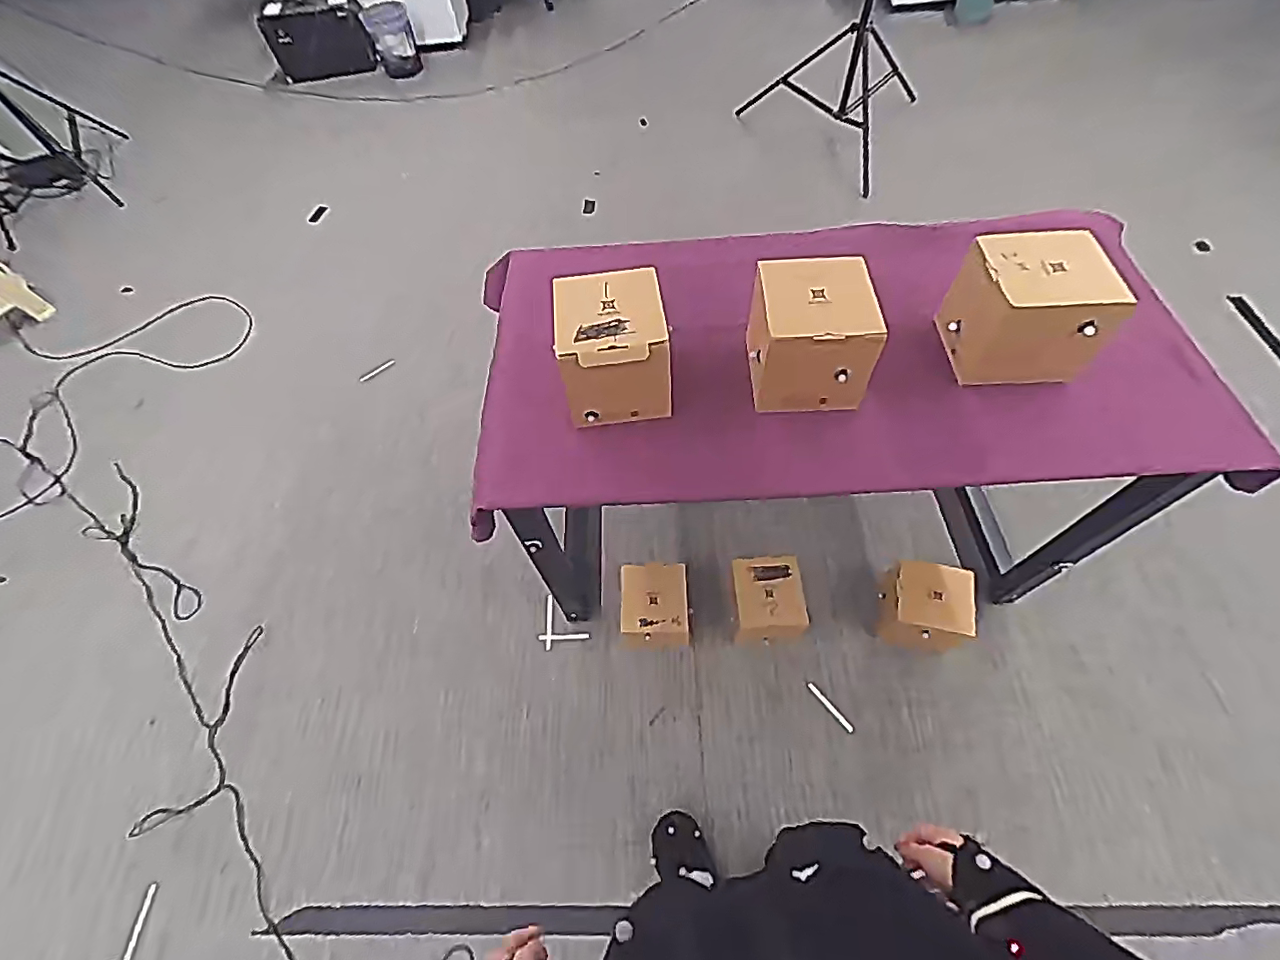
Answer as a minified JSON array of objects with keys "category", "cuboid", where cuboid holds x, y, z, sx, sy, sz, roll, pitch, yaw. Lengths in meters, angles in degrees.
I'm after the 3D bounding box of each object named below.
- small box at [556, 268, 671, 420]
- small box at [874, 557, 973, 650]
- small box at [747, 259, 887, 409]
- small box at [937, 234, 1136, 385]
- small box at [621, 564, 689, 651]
[{"category":"small box","cuboid":[-0.040,-0.212,0.879,0.168,0.176,0.179,-7,57,-1]},{"category":"small box","cuboid":[0.712,0.318,1.367,0.179,0.176,0.168,11,61,12]},{"category":"small box","cuboid":[0.271,-0.228,0.871,0.168,0.176,0.179,-1,57,2]},{"category":"small box","cuboid":[0.617,-0.269,0.870,0.179,0.176,0.168,-1,58,4]},{"category":"small box","cuboid":[0.040,0.331,1.403,0.168,0.176,0.179,-1,58,3]}]
